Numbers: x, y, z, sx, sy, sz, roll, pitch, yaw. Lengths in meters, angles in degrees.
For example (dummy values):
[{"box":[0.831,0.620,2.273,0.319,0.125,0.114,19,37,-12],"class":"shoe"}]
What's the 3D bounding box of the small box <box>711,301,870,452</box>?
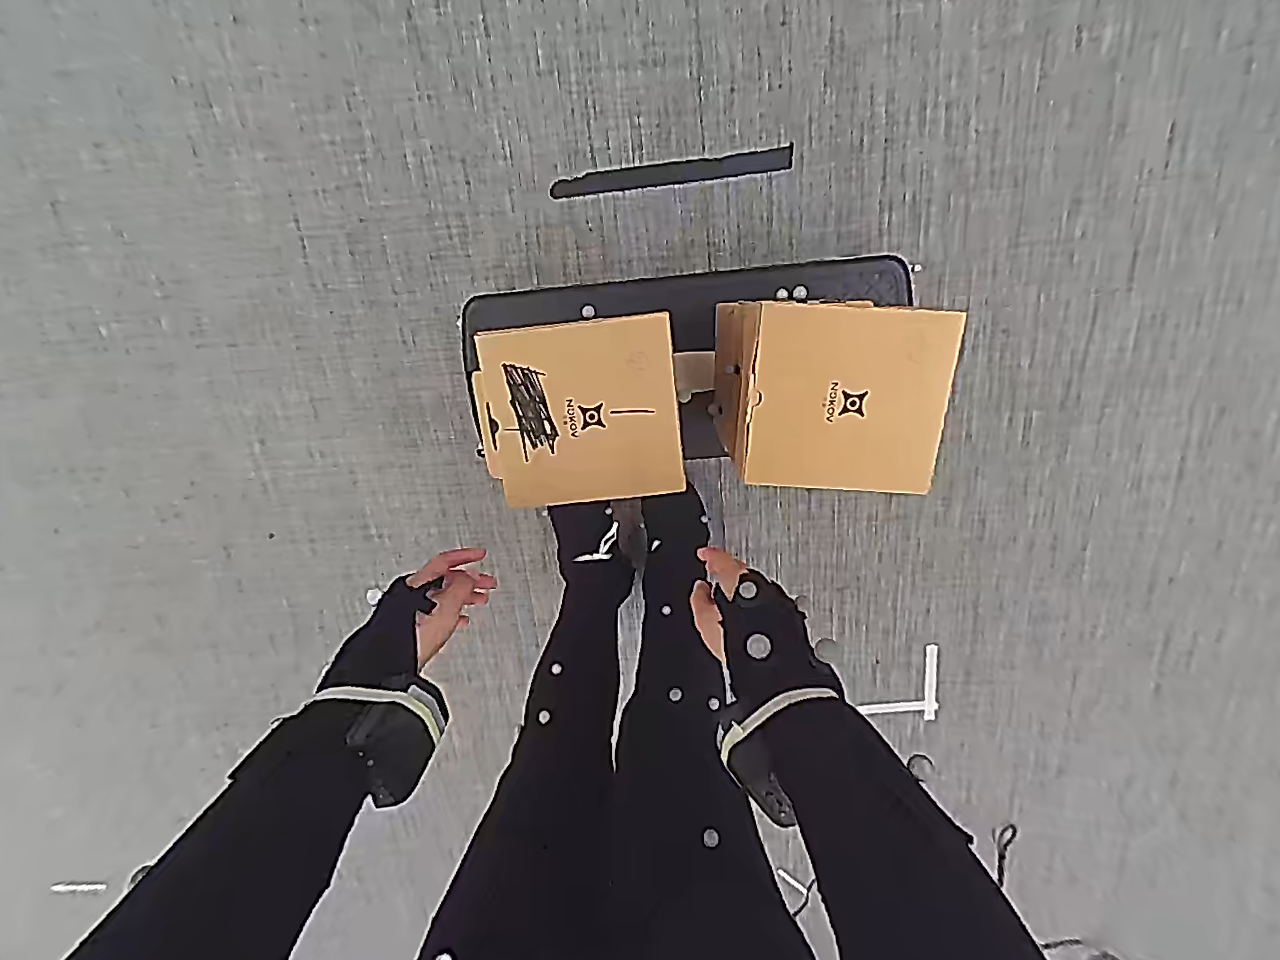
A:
[{"box":[0.183,-0.142,0.713,0.168,0.176,0.179,0,107,3],"class":"small box"}]
